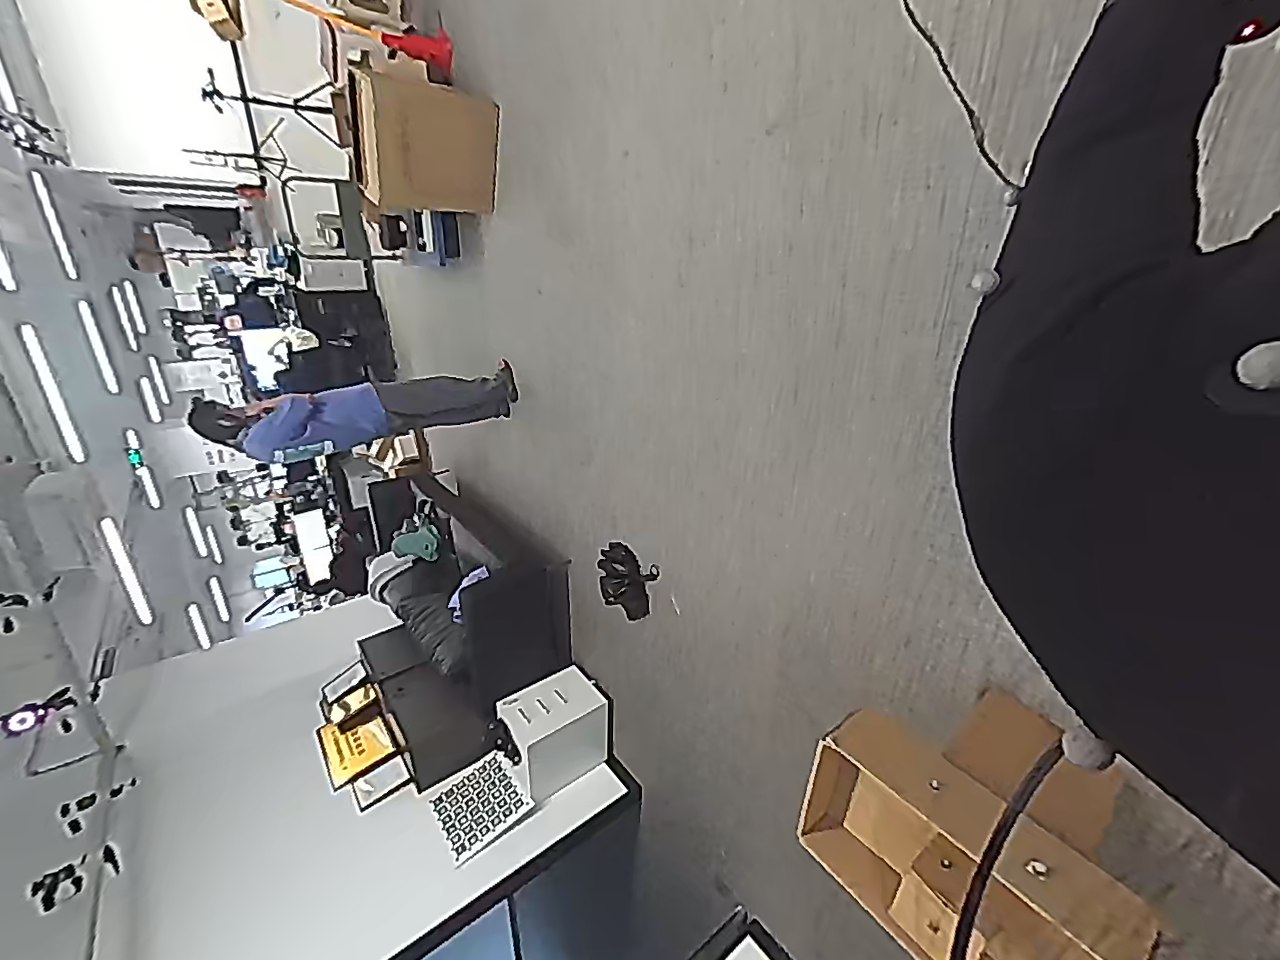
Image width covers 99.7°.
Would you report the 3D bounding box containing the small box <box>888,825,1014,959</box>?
[{"bbox_3d":[0.679,0.909,1.180,0.168,0.176,0.179,31,129,47],"label":"small box"}]
